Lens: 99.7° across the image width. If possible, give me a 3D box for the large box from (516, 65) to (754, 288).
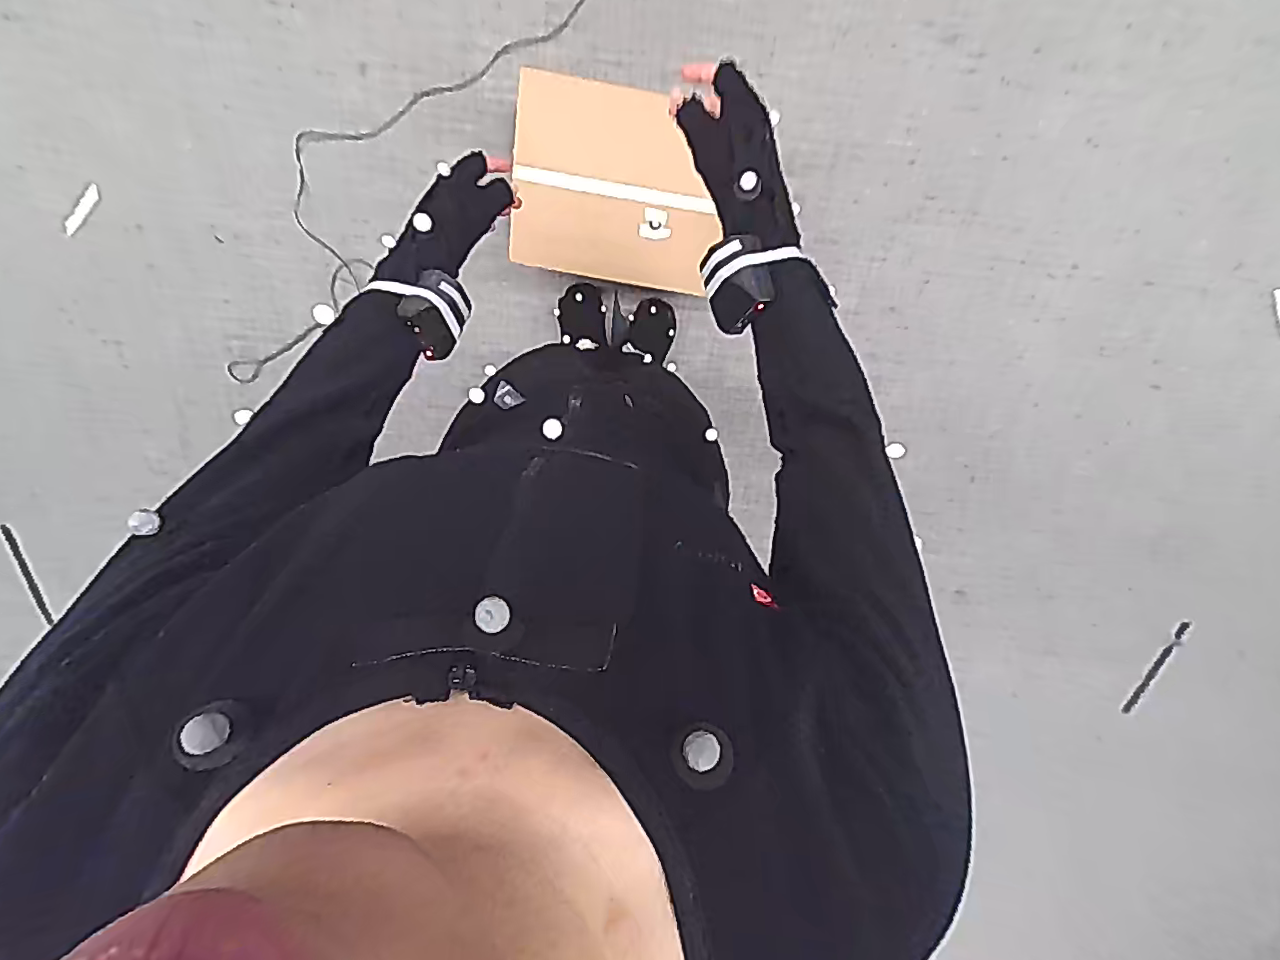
[{"bbox_3d":[-0.021,-0.595,1.116,0.408,0.320,0.320,8,114,-3],"label":"large box"}]
